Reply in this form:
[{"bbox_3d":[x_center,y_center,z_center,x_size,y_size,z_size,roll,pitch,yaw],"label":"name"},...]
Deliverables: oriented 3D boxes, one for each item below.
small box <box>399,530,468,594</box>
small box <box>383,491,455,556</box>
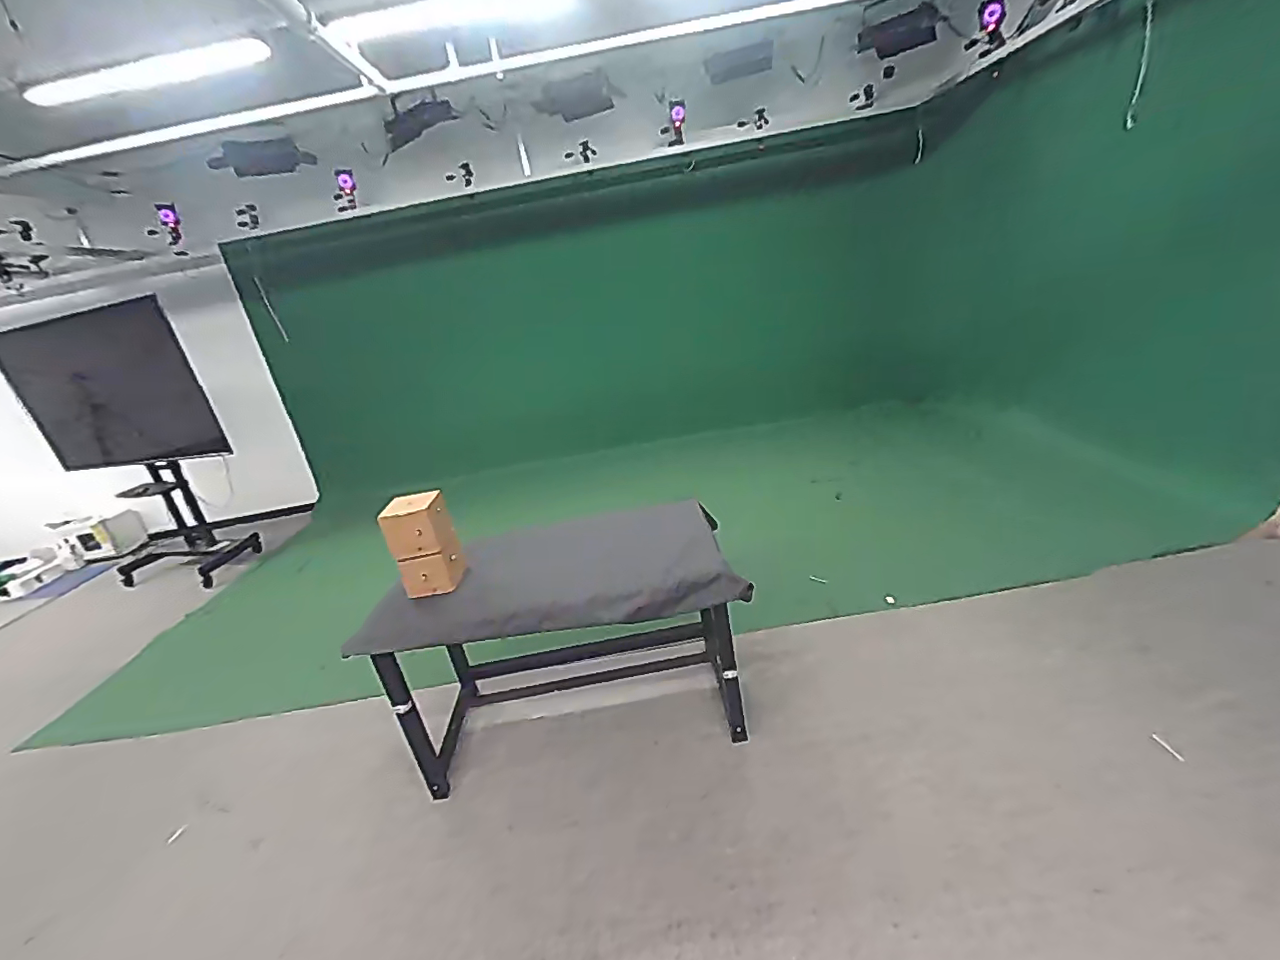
[{"bbox_3d":[-0.745,0.305,1.976,0.168,0.176,0.179,-9,21,2],"label":"small box"},{"bbox_3d":[-0.771,0.159,1.906,0.168,0.176,0.179,-9,19,0],"label":"small box"}]
